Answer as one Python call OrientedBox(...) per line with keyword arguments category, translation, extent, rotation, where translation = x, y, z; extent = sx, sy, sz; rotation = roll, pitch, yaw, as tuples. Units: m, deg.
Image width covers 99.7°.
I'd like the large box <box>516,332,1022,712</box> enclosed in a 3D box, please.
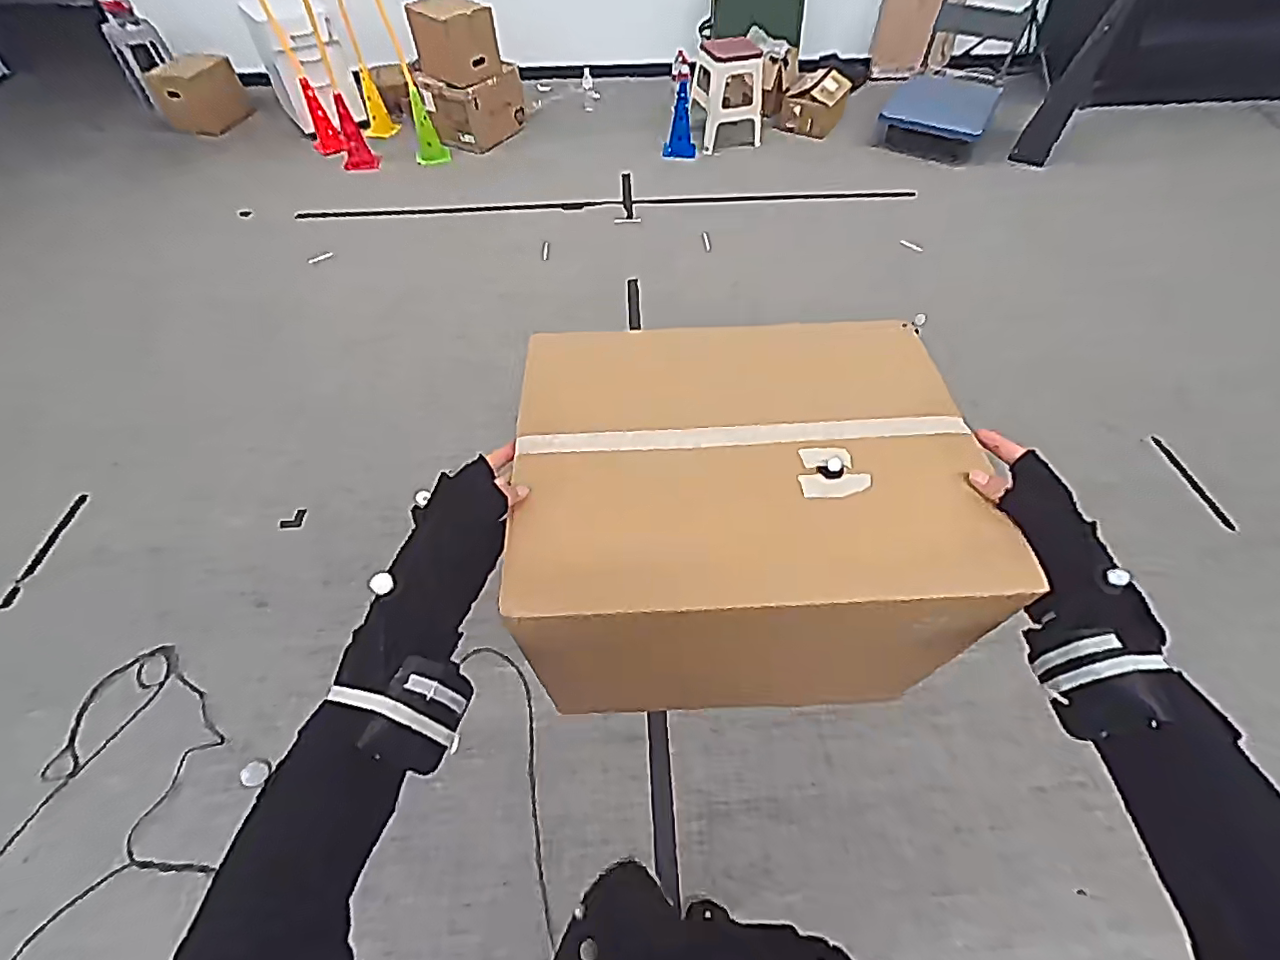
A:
OrientedBox(category="large box", translation=(0.094, 0.058, 0.620), extent=(0.408, 0.320, 0.320), rotation=(-2, 55, -1))
